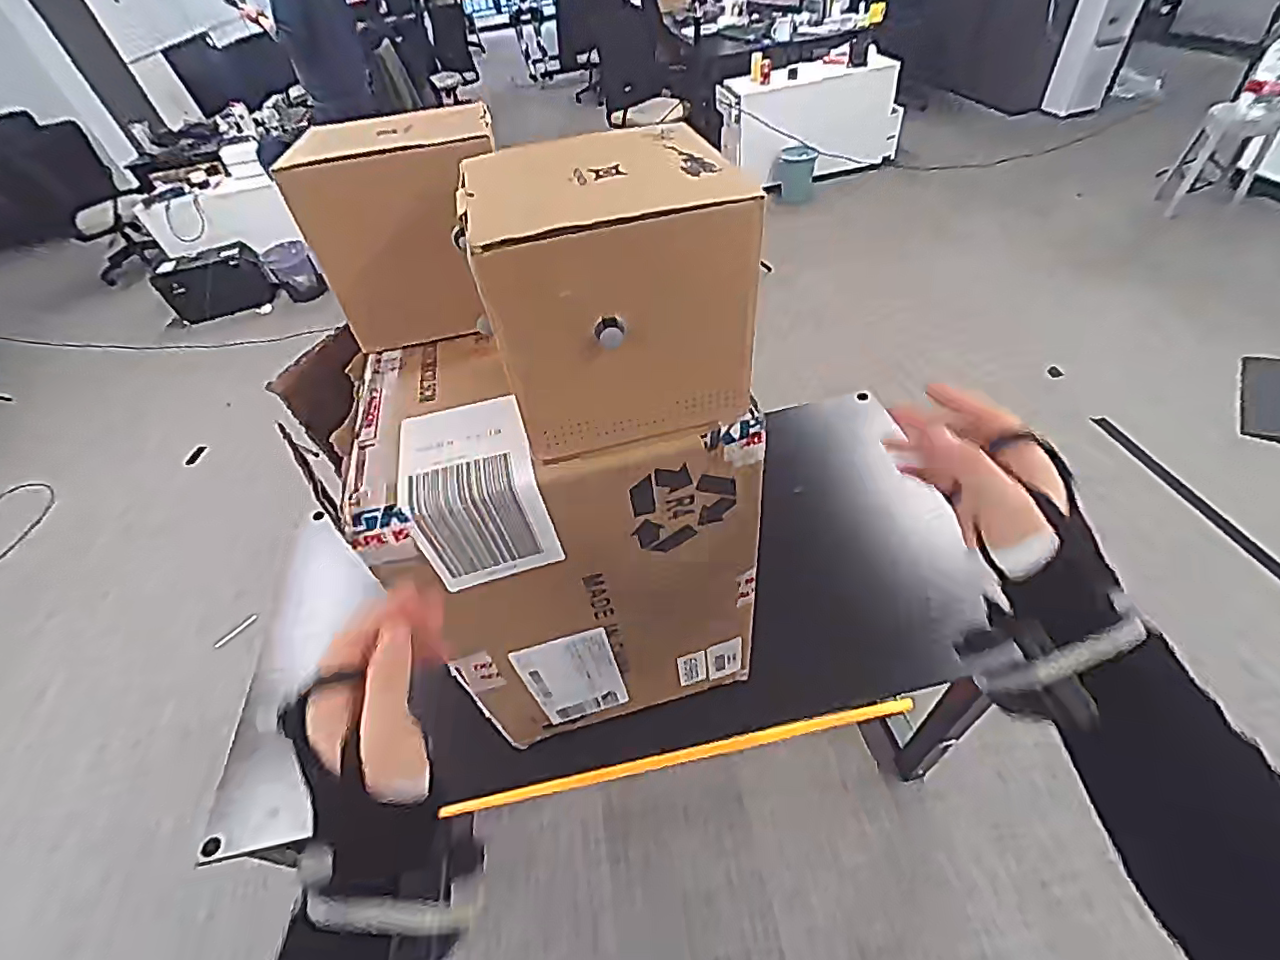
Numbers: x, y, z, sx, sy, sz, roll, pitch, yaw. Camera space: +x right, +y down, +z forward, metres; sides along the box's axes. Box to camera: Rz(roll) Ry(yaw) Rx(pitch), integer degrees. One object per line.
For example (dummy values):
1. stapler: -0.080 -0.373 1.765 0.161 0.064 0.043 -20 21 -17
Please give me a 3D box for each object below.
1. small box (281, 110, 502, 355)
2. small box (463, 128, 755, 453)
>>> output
1. small box: -0.214 -0.251 0.551 0.179 0.176 0.168 -14 44 -5
2. small box: -0.023 -0.144 0.423 0.179 0.176 0.168 -14 49 -5
